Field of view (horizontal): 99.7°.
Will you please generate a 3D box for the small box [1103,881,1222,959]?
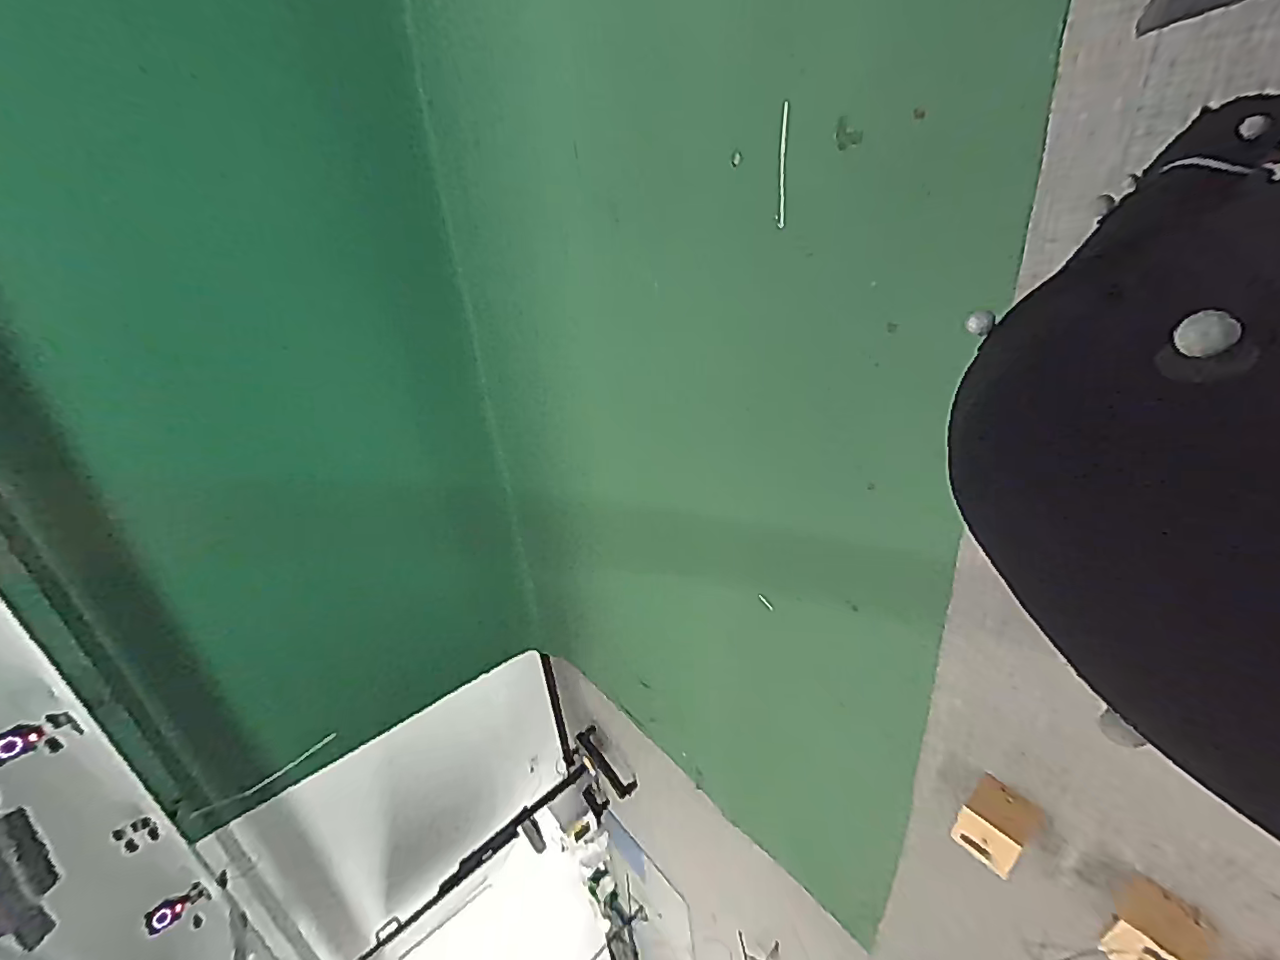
[{"bbox_3d":[1.375,1.212,1.421,0.168,0.176,0.179,32,134,42],"label":"small box"}]
